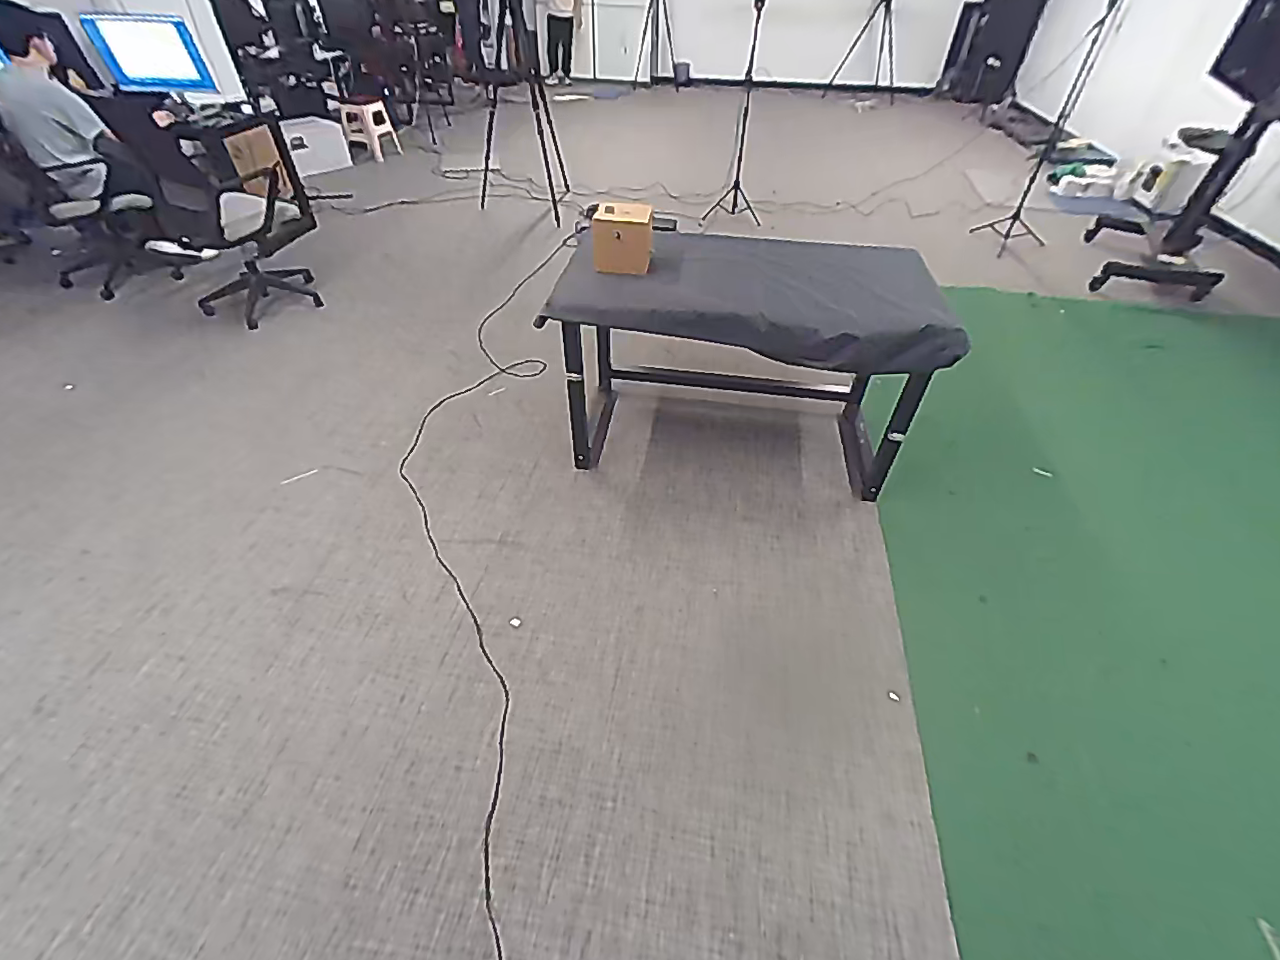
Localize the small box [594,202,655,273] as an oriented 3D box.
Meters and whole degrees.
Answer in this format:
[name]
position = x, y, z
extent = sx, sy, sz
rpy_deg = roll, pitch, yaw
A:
[small box]
position = -0.049, -0.798, 1.783
extent = 0.179, 0.176, 0.168
rpy_deg = 6, 44, 3
